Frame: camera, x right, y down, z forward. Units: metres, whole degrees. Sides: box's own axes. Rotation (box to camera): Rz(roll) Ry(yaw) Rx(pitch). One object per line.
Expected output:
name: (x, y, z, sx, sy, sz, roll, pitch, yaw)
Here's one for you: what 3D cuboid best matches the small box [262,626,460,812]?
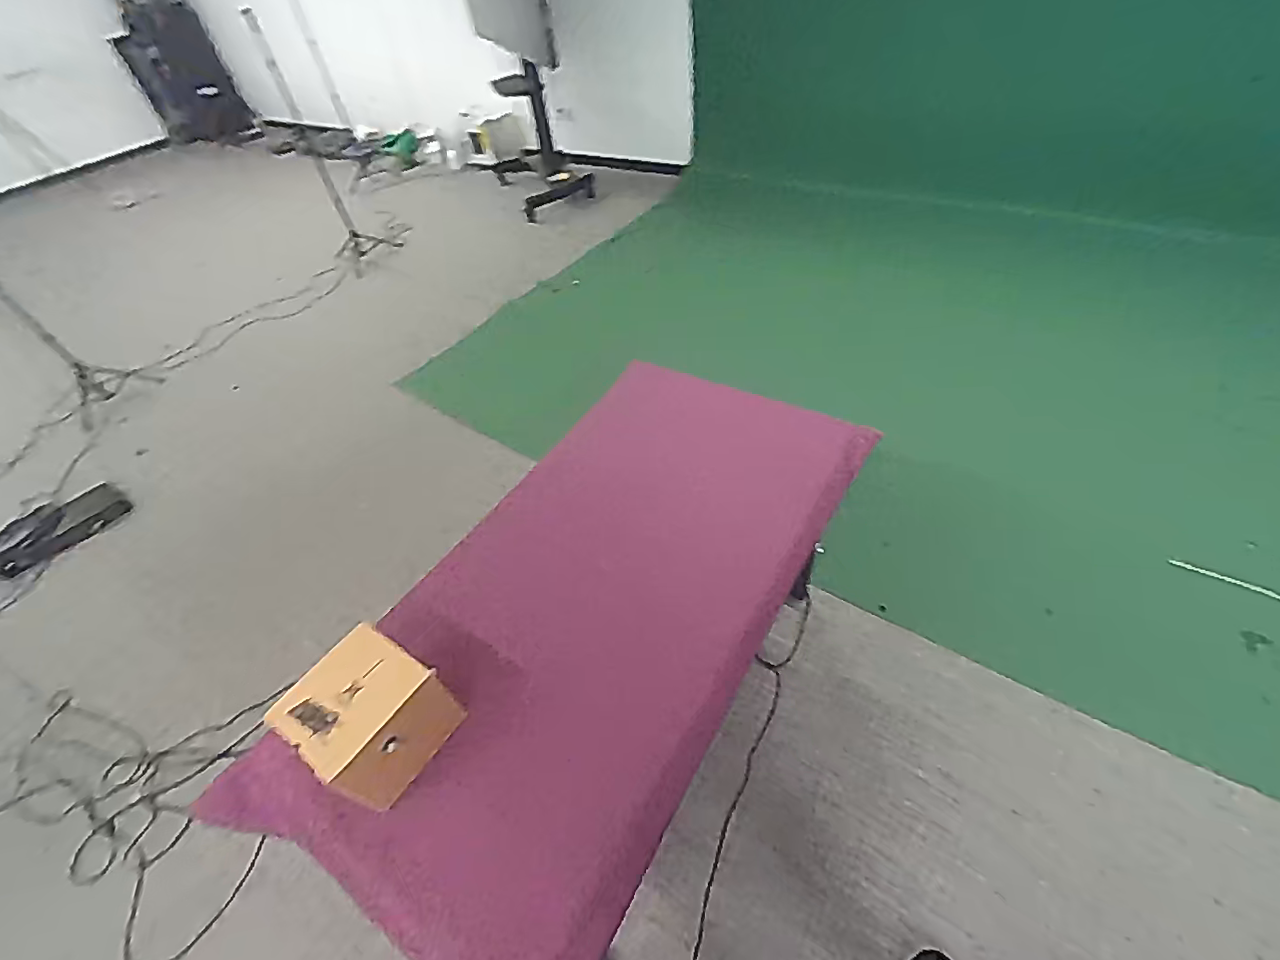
small box: (-0.409, 0.364, 0.822, 0.168, 0.176, 0.179, 23, 54, 26)
